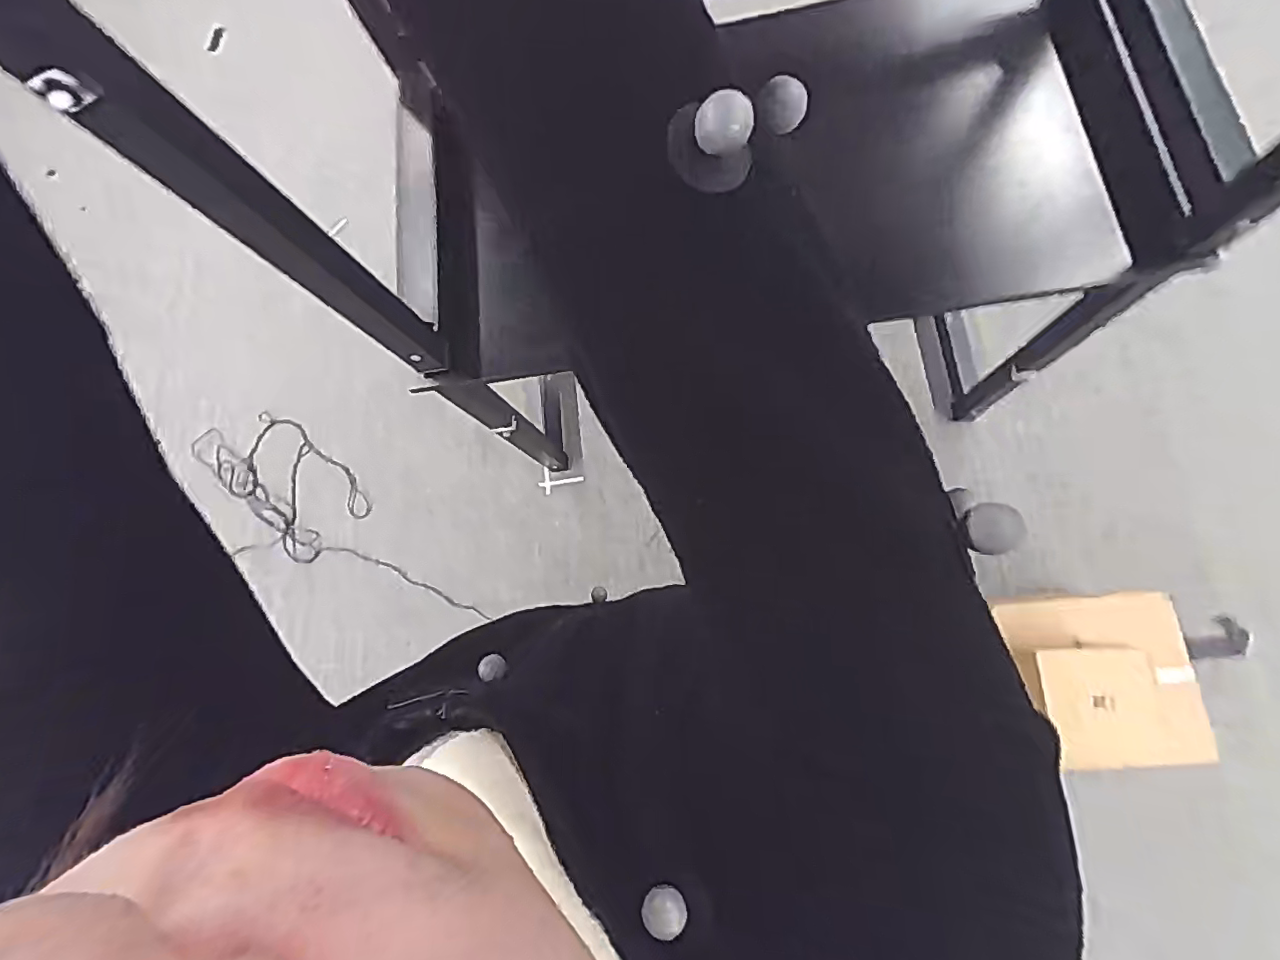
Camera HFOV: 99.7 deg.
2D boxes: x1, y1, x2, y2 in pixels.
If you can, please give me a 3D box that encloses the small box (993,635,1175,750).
[{"bbox_3d":[0.770,0.367,0.959,0.179,0.176,0.168,-4,77,8],"label":"small box"}]
